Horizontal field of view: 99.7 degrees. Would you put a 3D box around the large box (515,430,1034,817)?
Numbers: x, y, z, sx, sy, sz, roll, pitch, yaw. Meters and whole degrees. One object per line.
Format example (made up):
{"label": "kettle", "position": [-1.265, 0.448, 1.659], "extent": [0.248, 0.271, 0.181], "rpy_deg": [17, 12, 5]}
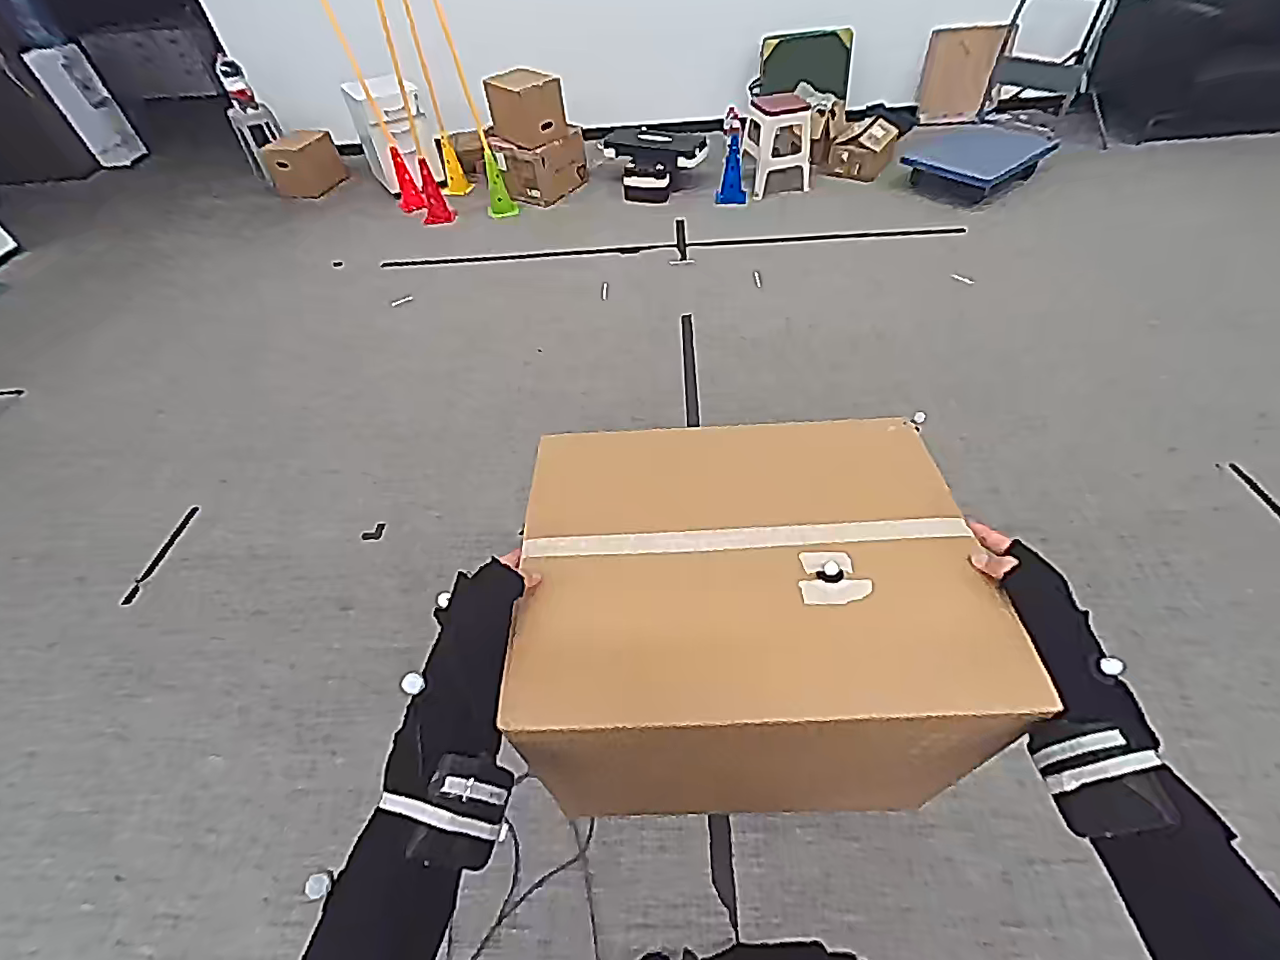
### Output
{"label": "large box", "position": [0.103, 0.167, 0.616], "extent": [0.408, 0.320, 0.320], "rpy_deg": [-3, 48, 2]}
